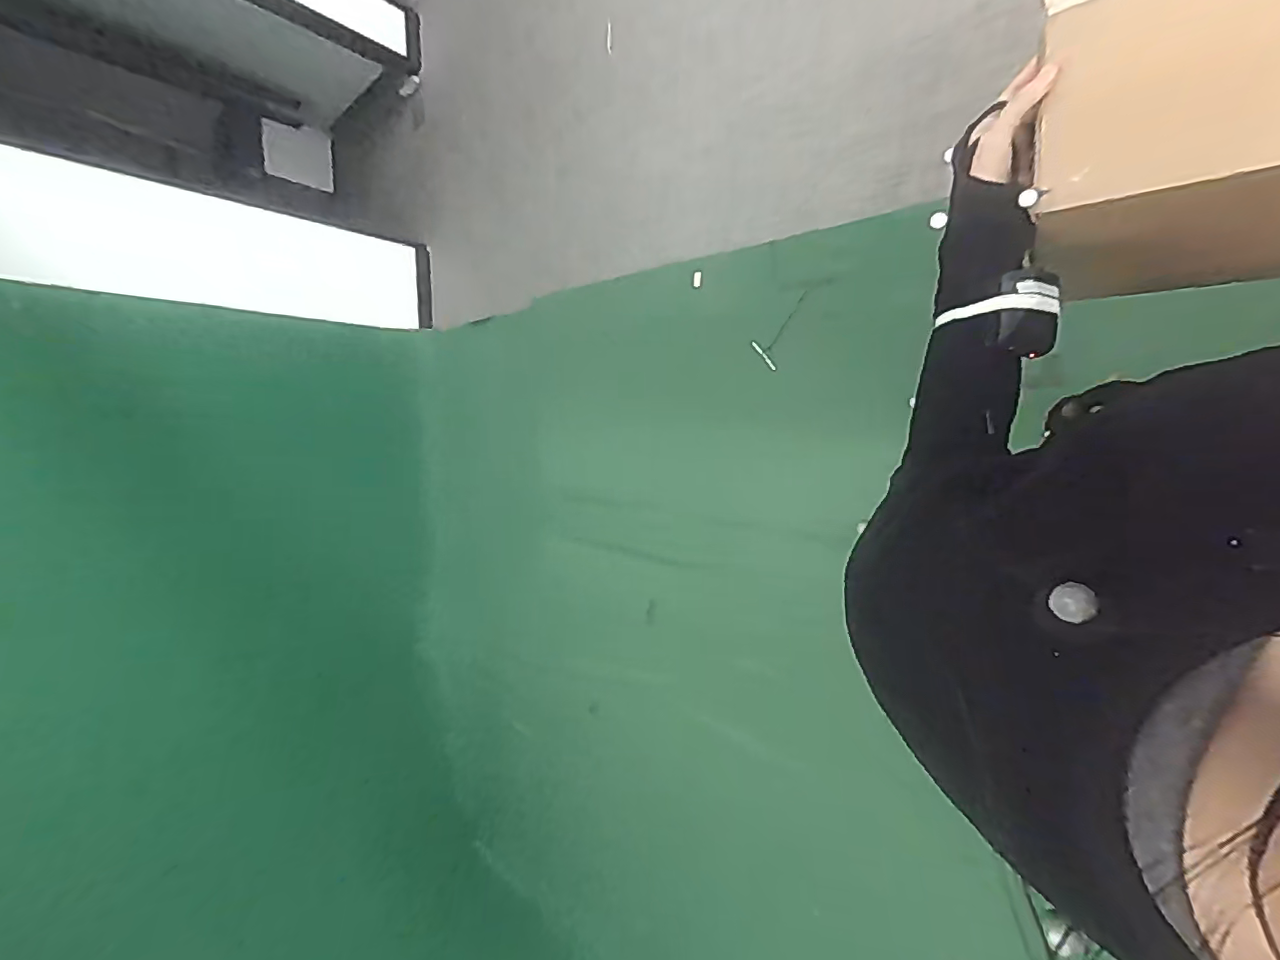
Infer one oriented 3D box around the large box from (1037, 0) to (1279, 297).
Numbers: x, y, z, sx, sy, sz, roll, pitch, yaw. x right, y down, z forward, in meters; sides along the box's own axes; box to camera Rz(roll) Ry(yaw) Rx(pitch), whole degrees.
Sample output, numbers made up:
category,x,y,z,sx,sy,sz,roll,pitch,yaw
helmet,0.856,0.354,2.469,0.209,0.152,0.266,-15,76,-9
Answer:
category,x,y,z,sx,sy,sz,roll,pitch,yaw
large box,0.574,-0.365,0.432,0.408,0.320,0.320,2,92,37
